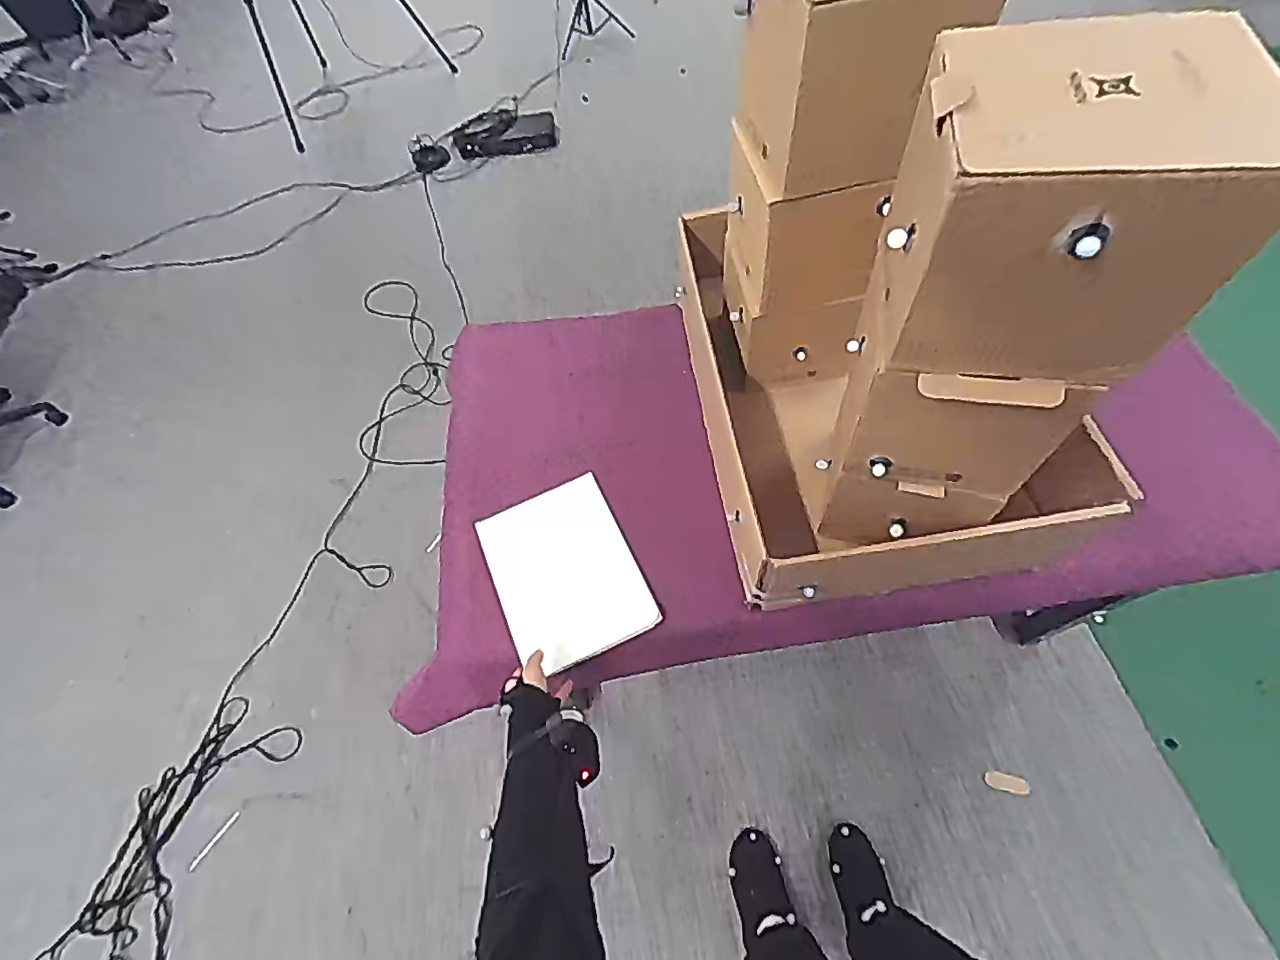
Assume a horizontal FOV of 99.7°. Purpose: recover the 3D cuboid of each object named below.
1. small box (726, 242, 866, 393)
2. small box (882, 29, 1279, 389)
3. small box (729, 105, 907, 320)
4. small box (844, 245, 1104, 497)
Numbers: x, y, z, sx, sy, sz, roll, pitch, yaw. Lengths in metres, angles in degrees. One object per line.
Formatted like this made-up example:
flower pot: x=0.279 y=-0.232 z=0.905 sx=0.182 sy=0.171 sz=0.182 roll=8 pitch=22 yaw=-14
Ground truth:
small box: x=0.227 y=-0.249 z=0.821 sx=0.168 sy=0.176 sz=0.179 roll=-9 pitch=61 yaw=2
small box: x=0.282 y=-0.182 z=0.389 sx=0.179 sy=0.176 sz=0.168 roll=6 pitch=61 yaw=13
small box: x=0.214 y=-0.325 z=0.679 sx=0.179 sy=0.176 sz=0.168 roll=-11 pitch=60 yaw=1
small box: x=0.302 y=-0.102 z=0.529 sx=0.168 sy=0.176 sz=0.179 roll=8 pitch=60 yaw=14
